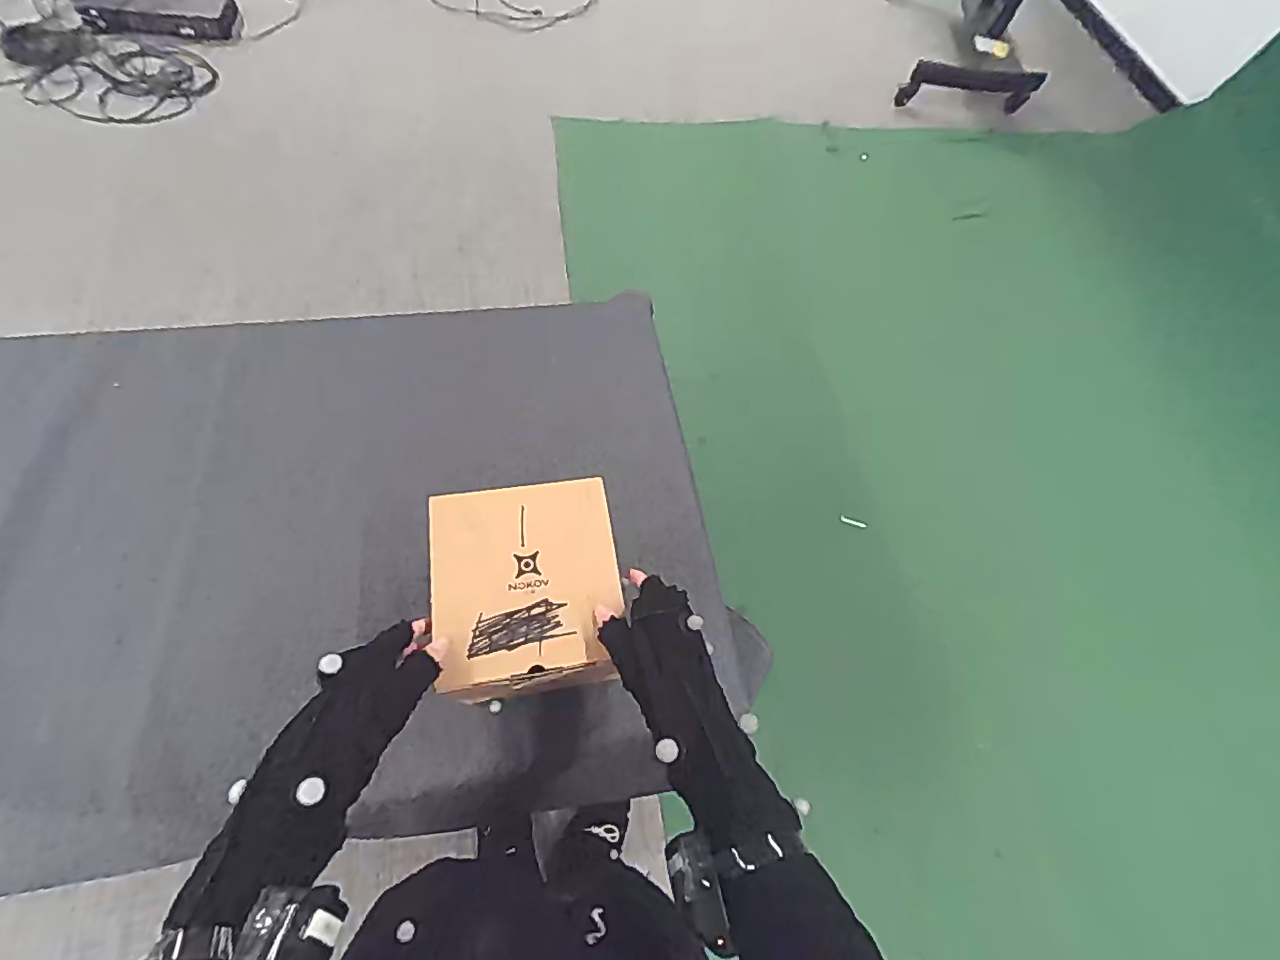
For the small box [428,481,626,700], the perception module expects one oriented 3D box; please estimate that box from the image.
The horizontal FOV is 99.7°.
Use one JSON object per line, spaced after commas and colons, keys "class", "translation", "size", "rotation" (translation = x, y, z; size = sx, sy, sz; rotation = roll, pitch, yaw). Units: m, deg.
{"class": "small box", "translation": [-0.113, 0.120, 0.552], "size": [0.168, 0.176, 0.179], "rotation": [-6, 65, -11]}
